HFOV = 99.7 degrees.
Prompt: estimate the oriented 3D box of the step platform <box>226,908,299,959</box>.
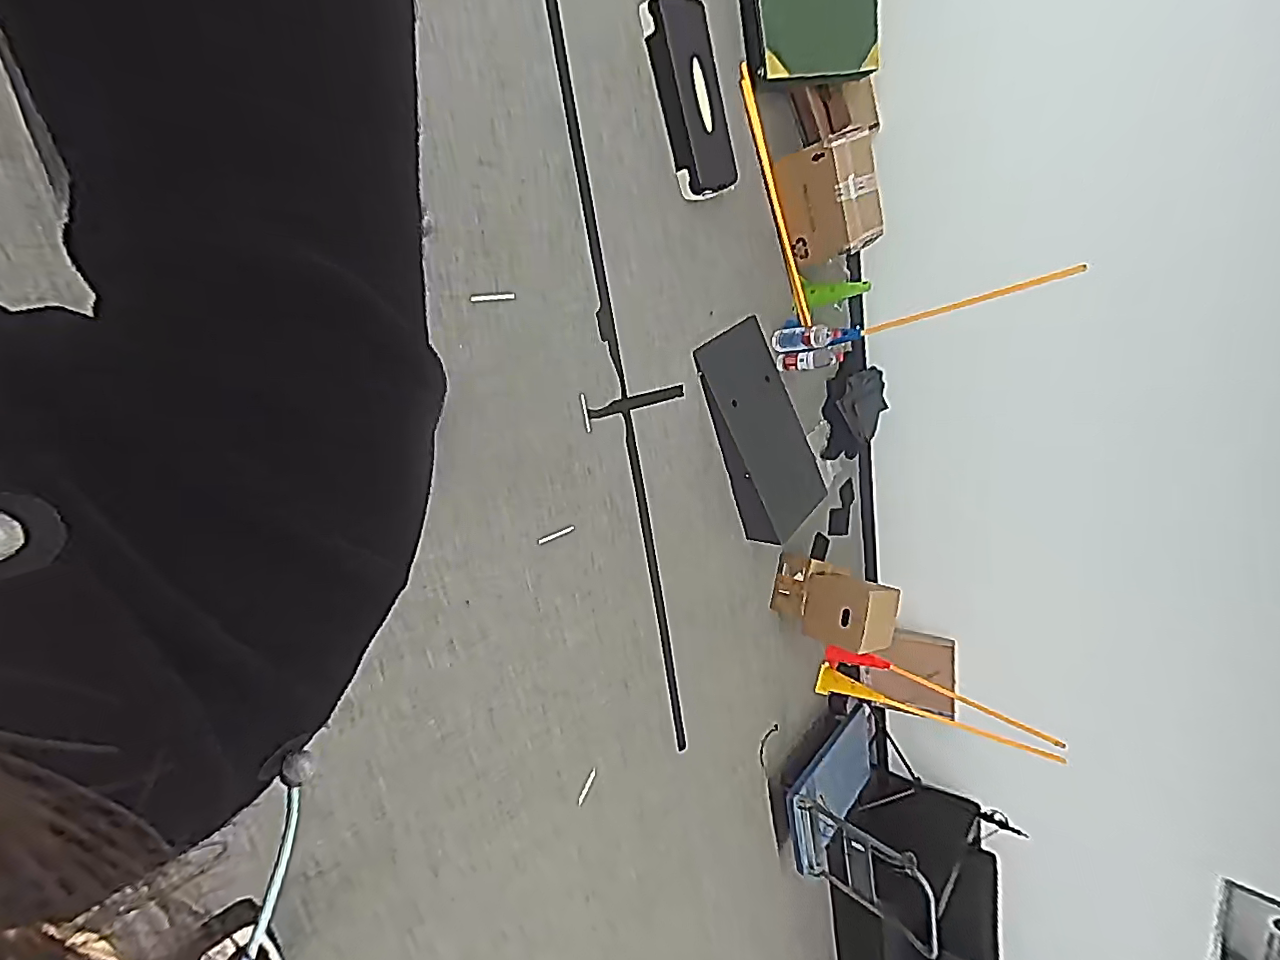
[{"bbox_3d":[-1.071,1.247,1.086,0.684,0.204,0.286,-14,104,-43],"label":"step platform"}]
